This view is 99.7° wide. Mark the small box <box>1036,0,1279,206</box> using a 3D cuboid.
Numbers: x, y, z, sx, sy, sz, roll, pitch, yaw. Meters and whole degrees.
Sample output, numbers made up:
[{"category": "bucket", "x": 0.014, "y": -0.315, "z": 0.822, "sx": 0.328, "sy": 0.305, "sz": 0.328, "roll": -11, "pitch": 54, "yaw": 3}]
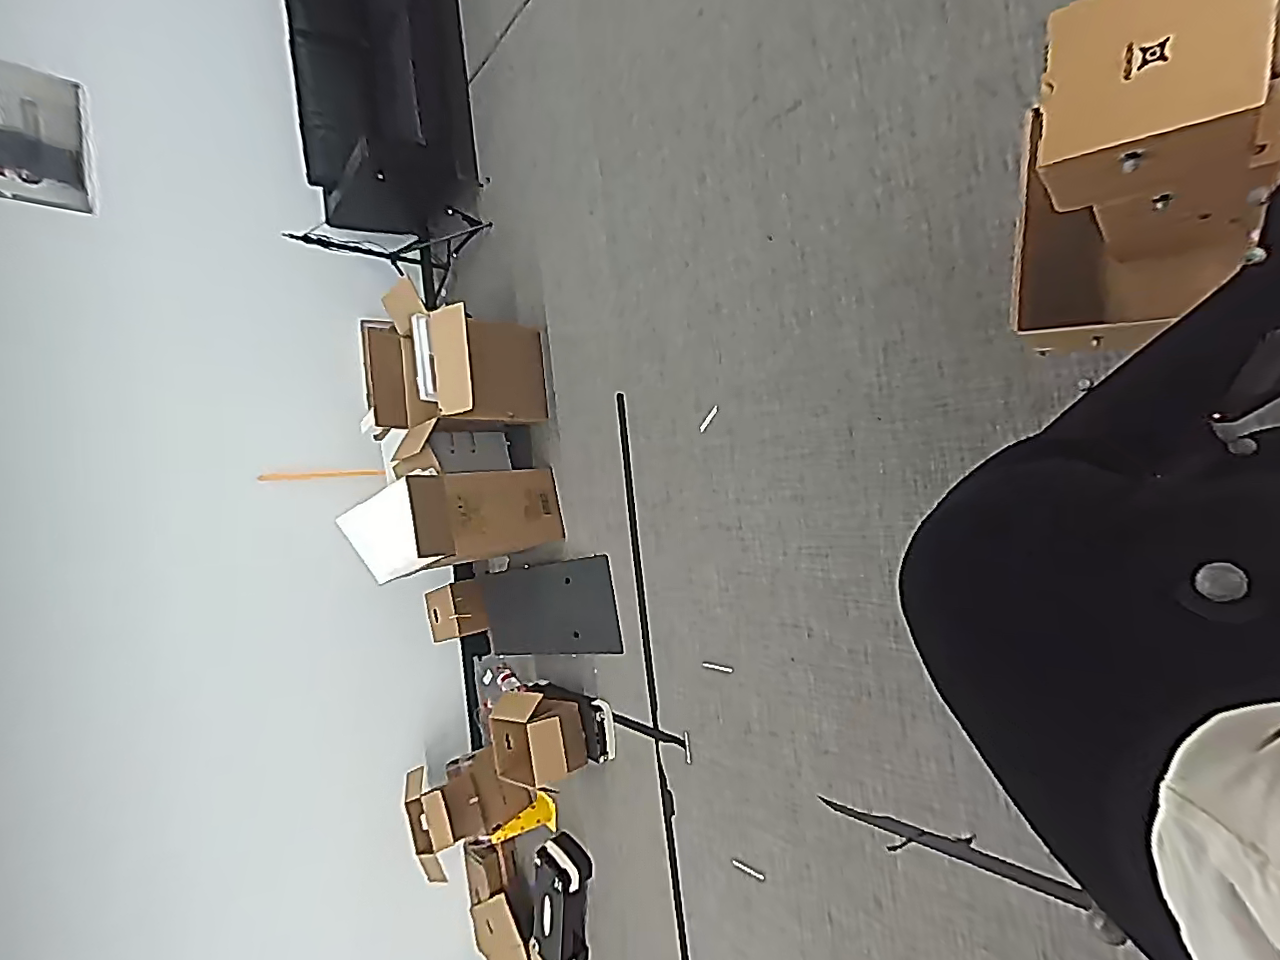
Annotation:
[{"category": "small box", "x": 0.569, "y": -0.433, "z": 0.601, "sx": 0.179, "sy": 0.176, "sz": 0.168, "roll": 6, "pitch": 97, "yaw": 46}]

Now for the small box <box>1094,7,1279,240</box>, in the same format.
[{"category": "small box", "x": 0.704, "y": -0.439, "z": 0.697, "sx": 0.168, "sy": 0.176, "sz": 0.179, "roll": 2, "pitch": 94, "yaw": 46}]
